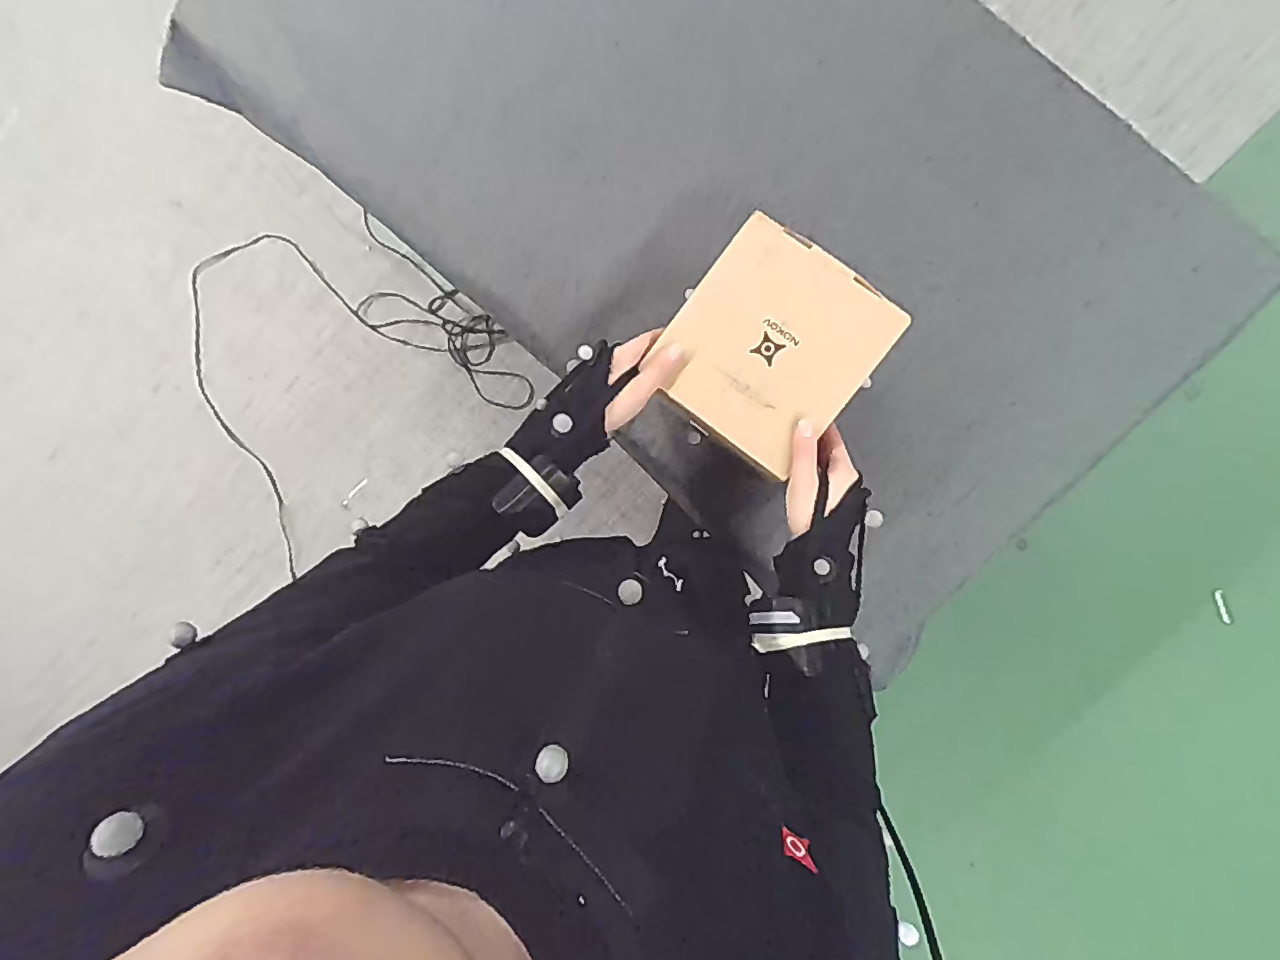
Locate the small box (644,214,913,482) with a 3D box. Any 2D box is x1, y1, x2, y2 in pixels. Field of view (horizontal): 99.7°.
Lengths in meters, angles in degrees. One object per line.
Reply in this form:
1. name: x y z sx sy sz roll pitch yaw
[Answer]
1. small box: 0.125 -0.116 0.544 0.168 0.176 0.179 37 95 6
